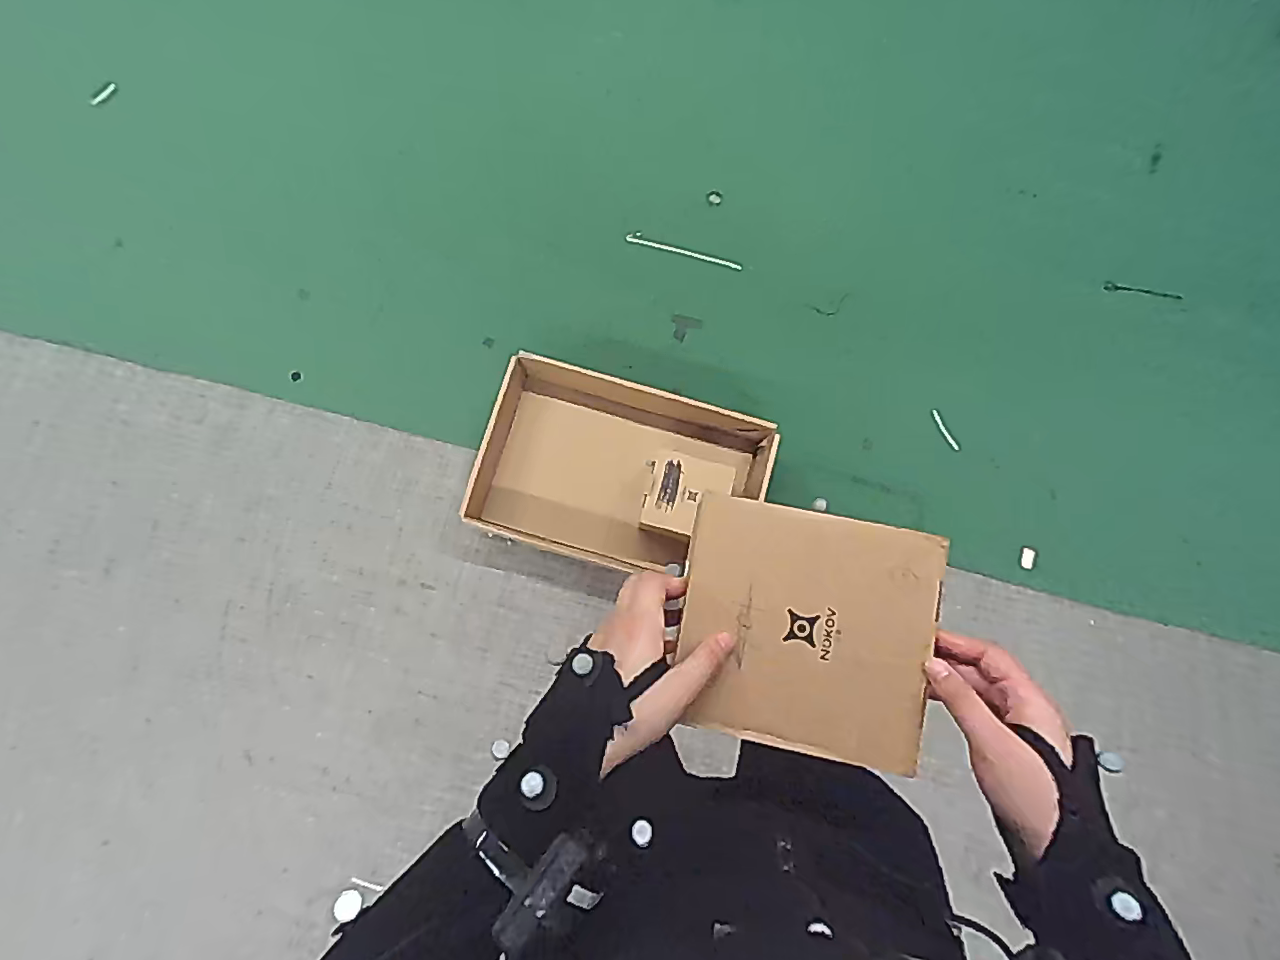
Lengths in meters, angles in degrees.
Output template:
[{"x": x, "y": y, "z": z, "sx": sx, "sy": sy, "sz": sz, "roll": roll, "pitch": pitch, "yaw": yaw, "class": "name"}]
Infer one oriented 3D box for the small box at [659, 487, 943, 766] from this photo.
[{"x": 0.117, "y": 0.107, "z": 0.453, "sx": 0.179, "sy": 0.176, "sz": 0.168, "roll": 9, "pitch": 83, "yaw": 5, "class": "small box"}]
